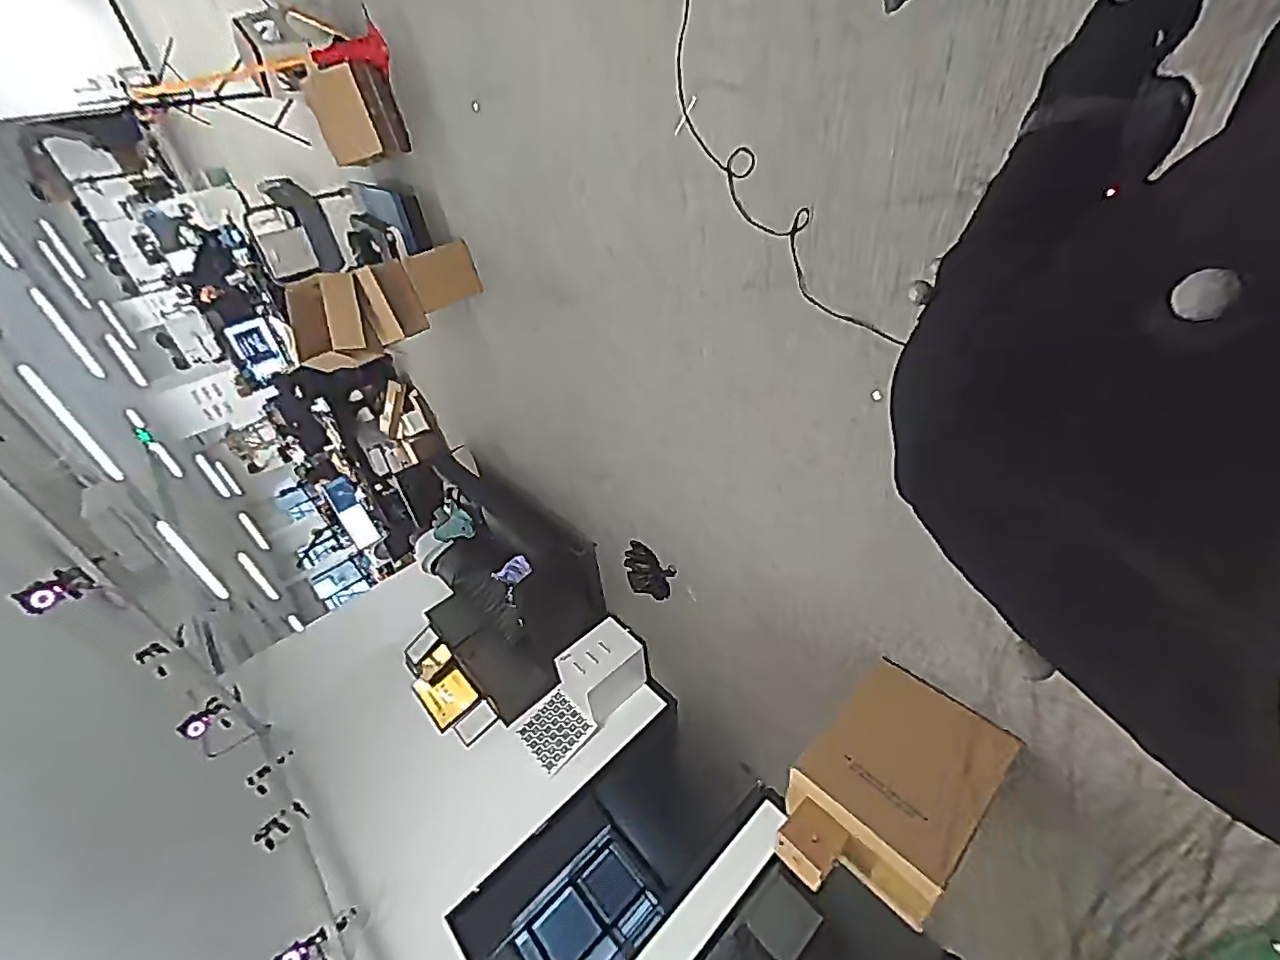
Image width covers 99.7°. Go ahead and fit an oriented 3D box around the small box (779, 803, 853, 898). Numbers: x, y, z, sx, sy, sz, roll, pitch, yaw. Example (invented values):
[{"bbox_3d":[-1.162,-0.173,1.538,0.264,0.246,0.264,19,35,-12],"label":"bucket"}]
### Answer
[{"bbox_3d":[0.605,1.268,1.859,0.179,0.176,0.168,30,136,38],"label":"small box"}]
